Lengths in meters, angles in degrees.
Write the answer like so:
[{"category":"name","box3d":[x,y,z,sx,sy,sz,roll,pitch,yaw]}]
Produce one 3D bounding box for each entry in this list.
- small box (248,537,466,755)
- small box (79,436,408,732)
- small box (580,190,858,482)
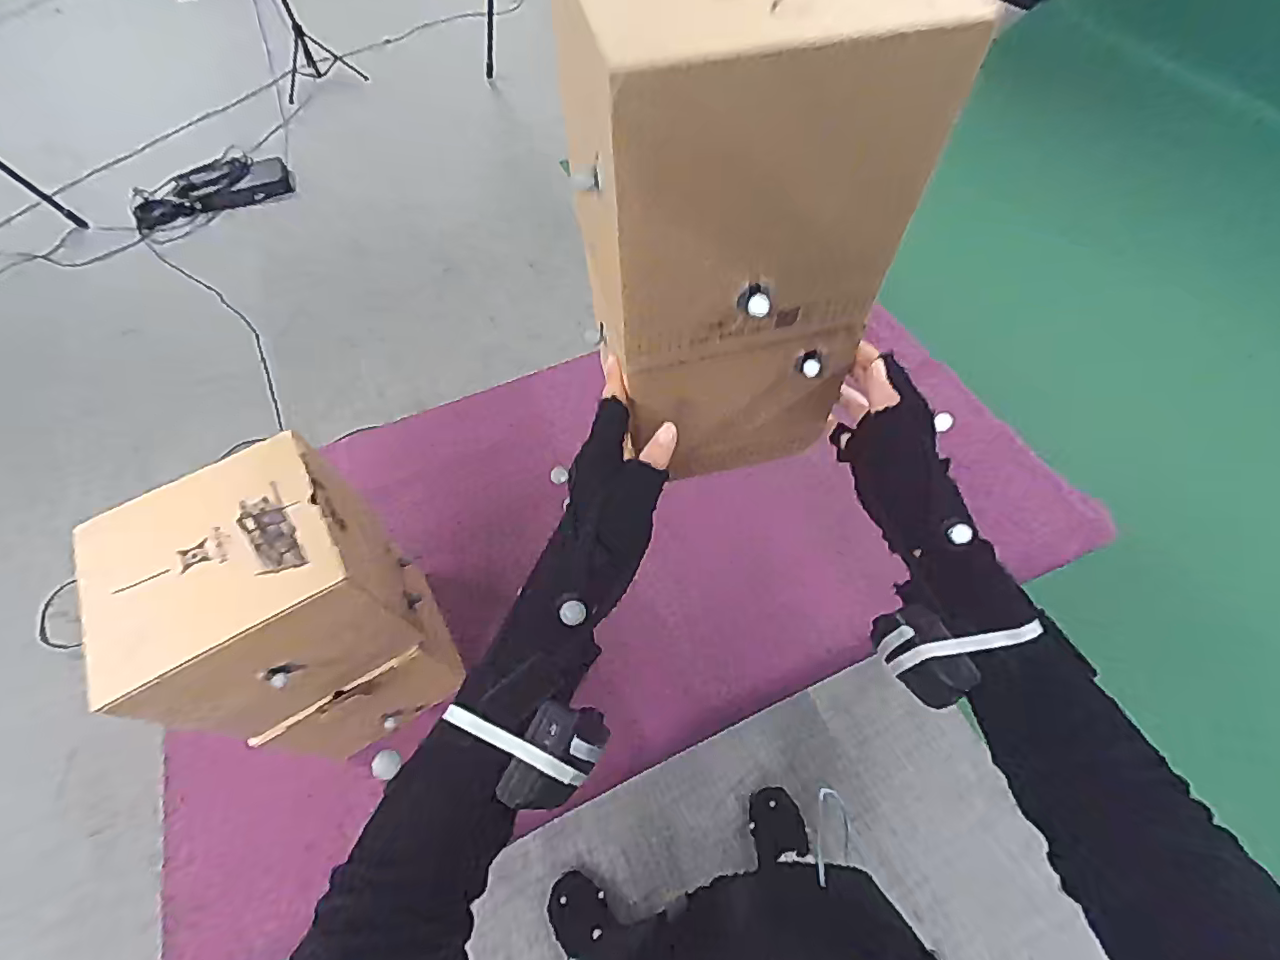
[{"category":"small box","box3d":[-0.328,0.189,0.624,0.168,0.176,0.179,-29,63,-14]},{"category":"small box","box3d":[-0.331,0.098,0.484,0.179,0.176,0.168,-27,60,-13]},{"category":"small box","box3d":[0.055,-0.117,0.474,0.179,0.176,0.168,-12,59,-5]}]
